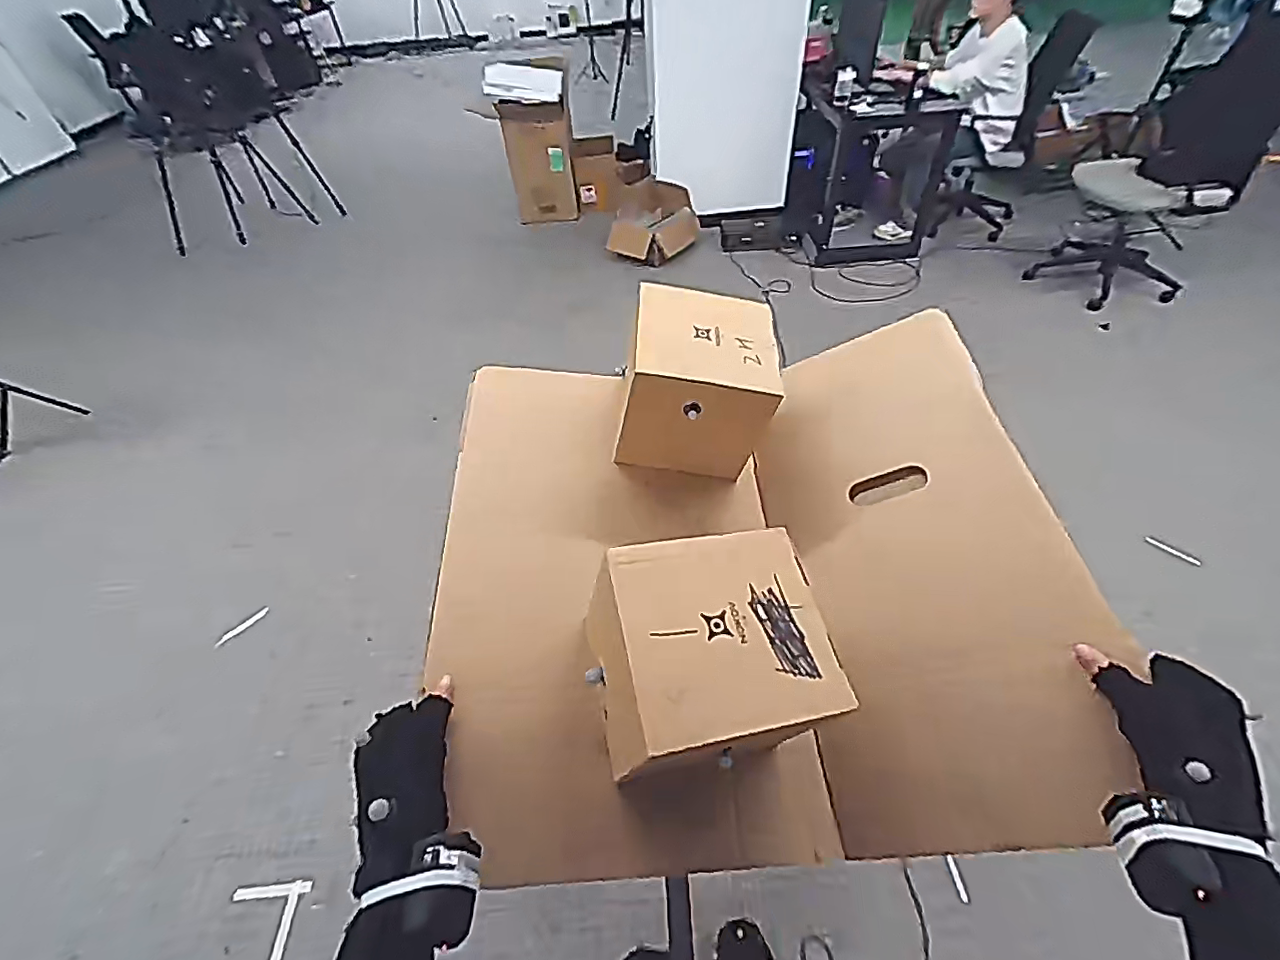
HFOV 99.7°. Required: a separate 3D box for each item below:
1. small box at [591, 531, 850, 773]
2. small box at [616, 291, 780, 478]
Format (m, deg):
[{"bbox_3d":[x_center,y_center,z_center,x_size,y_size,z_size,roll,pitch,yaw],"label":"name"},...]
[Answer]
[{"bbox_3d":[0.058,0.167,0.519,0.179,0.176,0.168,-5,57,-15],"label":"small box"},{"bbox_3d":[0.067,-0.120,0.723,0.179,0.176,0.168,9,54,-7],"label":"small box"}]
